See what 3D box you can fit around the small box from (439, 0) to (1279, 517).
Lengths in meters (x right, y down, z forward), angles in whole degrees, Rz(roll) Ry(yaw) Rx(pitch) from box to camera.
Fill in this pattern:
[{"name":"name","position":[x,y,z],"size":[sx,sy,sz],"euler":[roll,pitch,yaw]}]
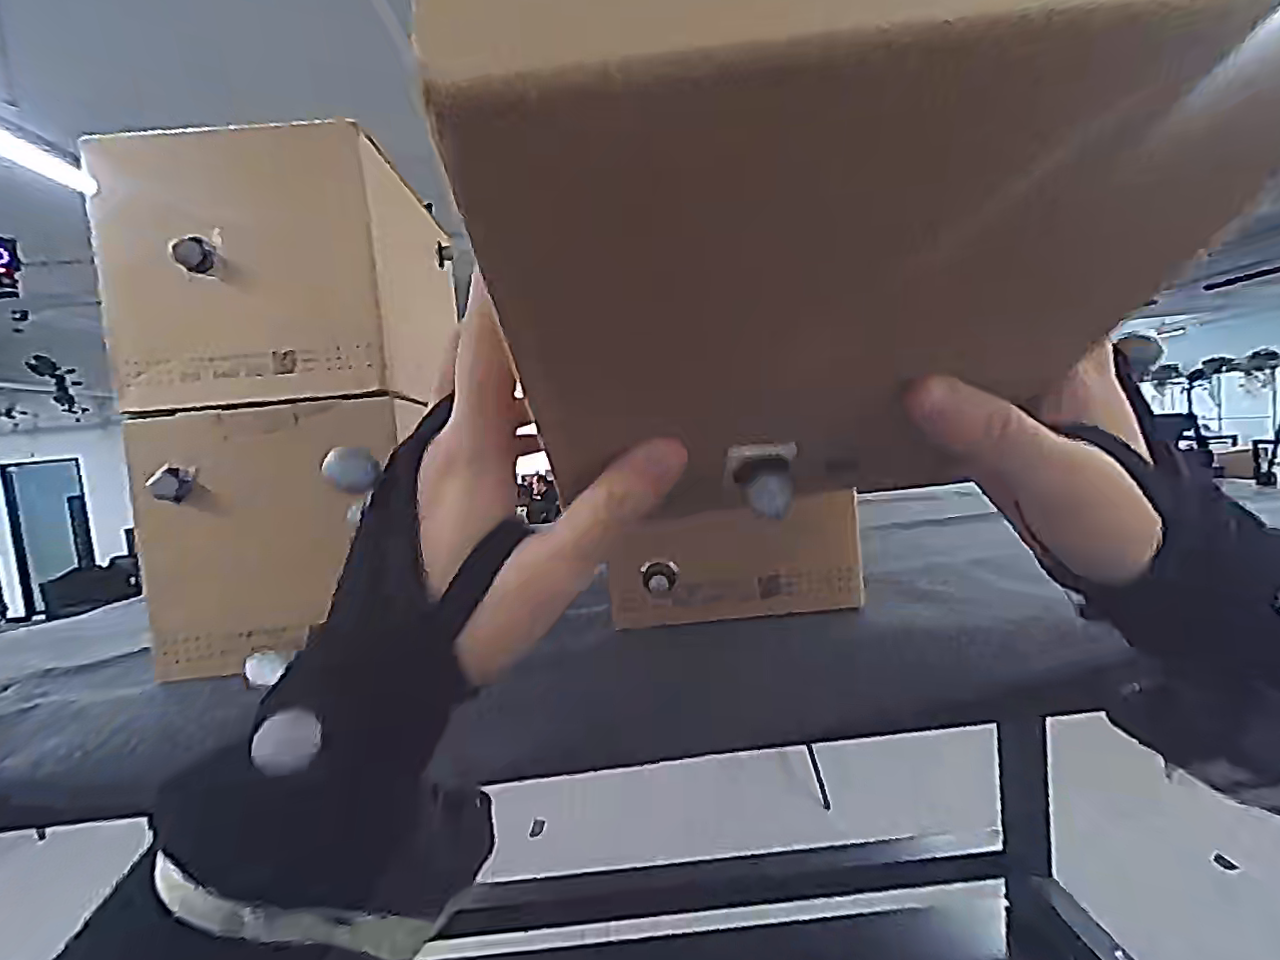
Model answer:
[{"name":"small box","position":[0.039,-0.108,0.190],"size":[0.168,0.179,0.176],"euler":[-10,-26,-3]}]

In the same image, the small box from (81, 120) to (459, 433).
[{"name":"small box","position":[-0.247,-0.130,0.411],"size":[0.168,0.176,0.179],"euler":[-5,2,-2]}]

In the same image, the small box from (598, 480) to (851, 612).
[{"name":"small box","position":[0.053,0.003,0.430],"size":[0.168,0.176,0.179],"euler":[-5,2,-1]}]
